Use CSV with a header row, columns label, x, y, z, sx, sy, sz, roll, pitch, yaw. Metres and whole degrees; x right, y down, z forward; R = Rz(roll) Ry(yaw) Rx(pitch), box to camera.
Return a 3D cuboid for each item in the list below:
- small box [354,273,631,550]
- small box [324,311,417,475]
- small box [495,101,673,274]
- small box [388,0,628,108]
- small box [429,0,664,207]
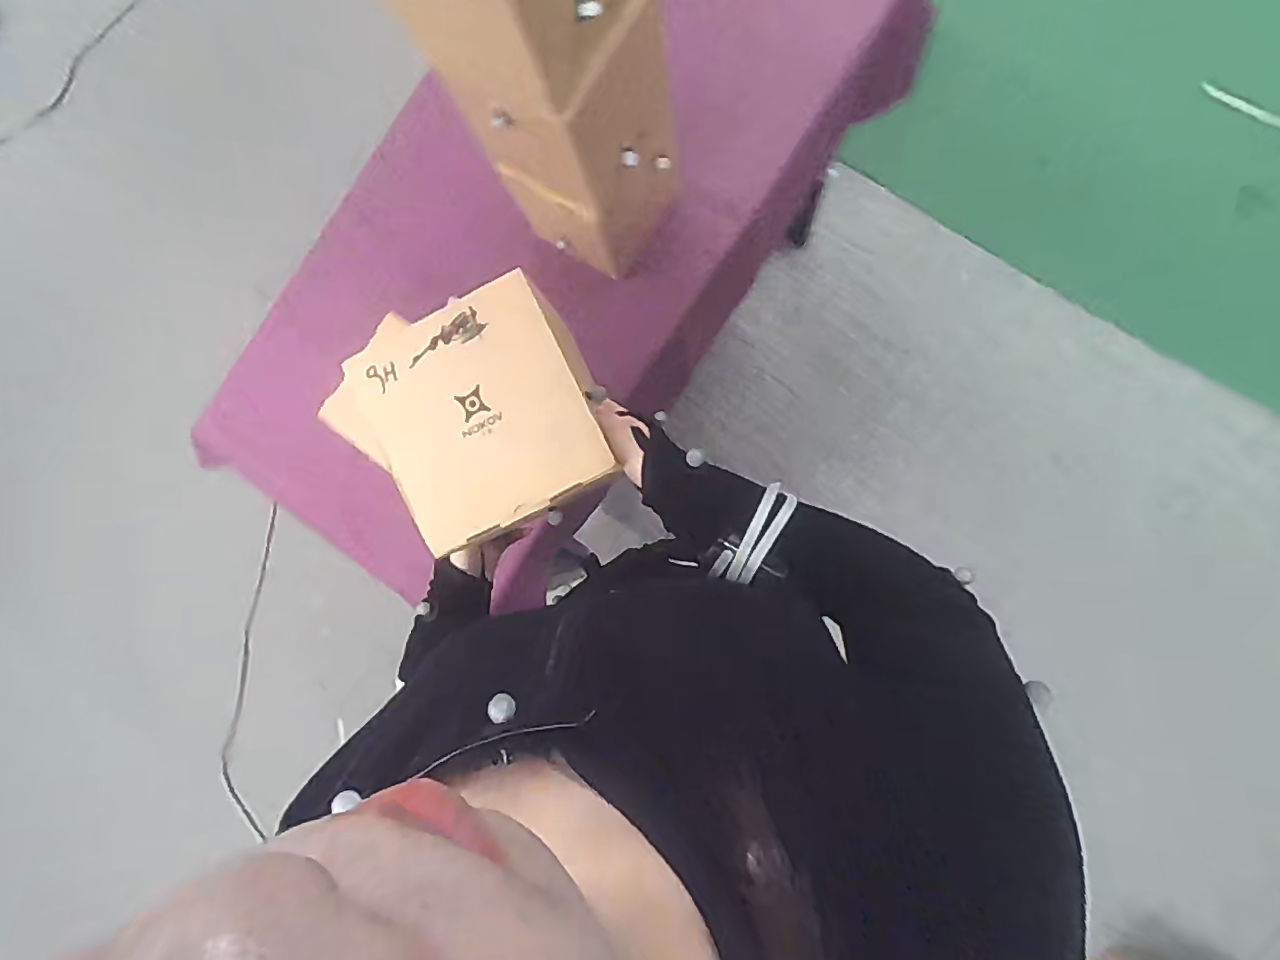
label,x,y,z,sx,sy,sz,roll,pitch,yaw
small box,-0.117,-0.057,0.508,0.168,0.176,0.179,-25,90,4
small box,-0.288,-0.100,0.769,0.179,0.176,0.168,35,91,9
small box,-0.064,-0.431,0.760,0.168,0.176,0.179,33,91,10
small box,-0.122,-0.456,0.441,0.179,0.176,0.168,30,91,9
small box,-0.091,-0.444,0.600,0.179,0.176,0.168,32,92,9
